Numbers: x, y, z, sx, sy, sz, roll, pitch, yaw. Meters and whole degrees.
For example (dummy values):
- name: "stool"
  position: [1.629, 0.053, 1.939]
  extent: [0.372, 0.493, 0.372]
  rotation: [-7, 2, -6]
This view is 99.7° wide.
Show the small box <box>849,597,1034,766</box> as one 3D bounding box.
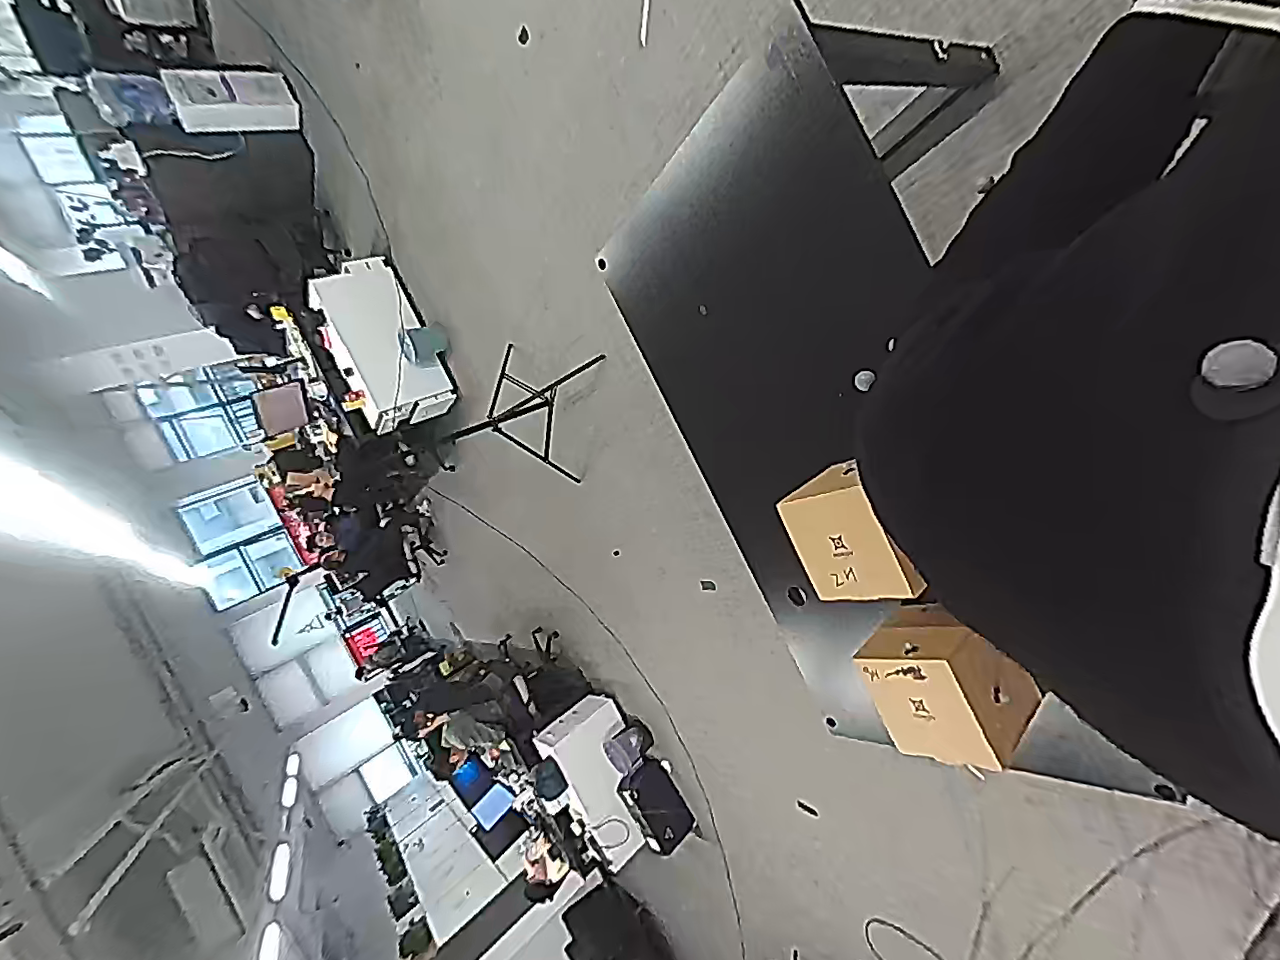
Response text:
- name: "small box"
  position: [0.476, 0.307, 0.854]
  extent: [0.168, 0.176, 0.179]
  rotation: [-28, 90, 57]

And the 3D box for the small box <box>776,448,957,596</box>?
- name: "small box"
  position: [0.353, 0.063, 0.845]
  extent: [0.168, 0.176, 0.179]
  rotation: [-21, 96, 57]
